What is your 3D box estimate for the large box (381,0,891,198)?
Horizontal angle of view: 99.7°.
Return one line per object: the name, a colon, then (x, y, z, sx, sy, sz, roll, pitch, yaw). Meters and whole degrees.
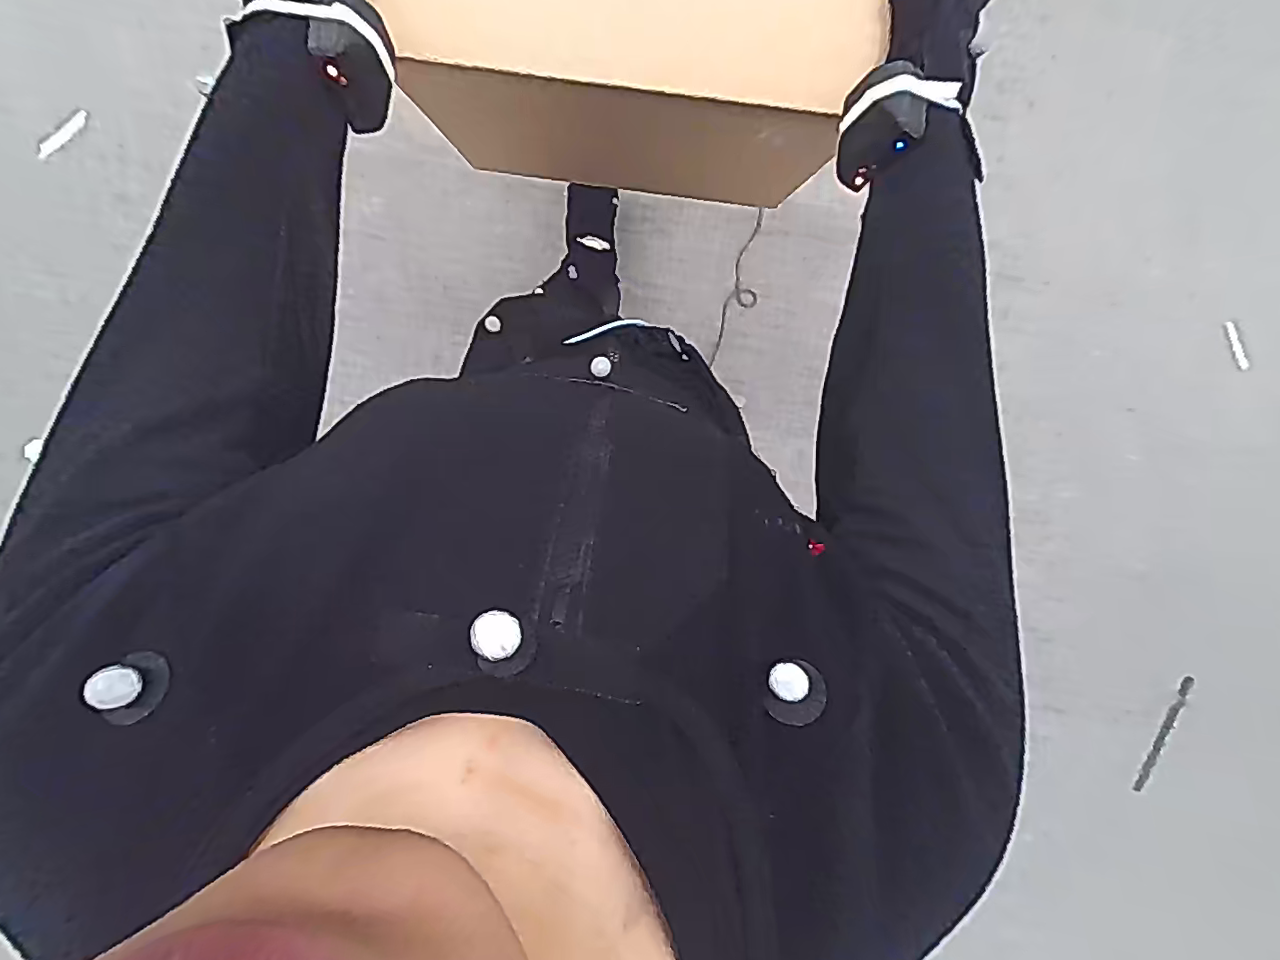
large box: (0.003, -0.504, 0.540, 0.408, 0.320, 0.320, 6, 105, -3)
